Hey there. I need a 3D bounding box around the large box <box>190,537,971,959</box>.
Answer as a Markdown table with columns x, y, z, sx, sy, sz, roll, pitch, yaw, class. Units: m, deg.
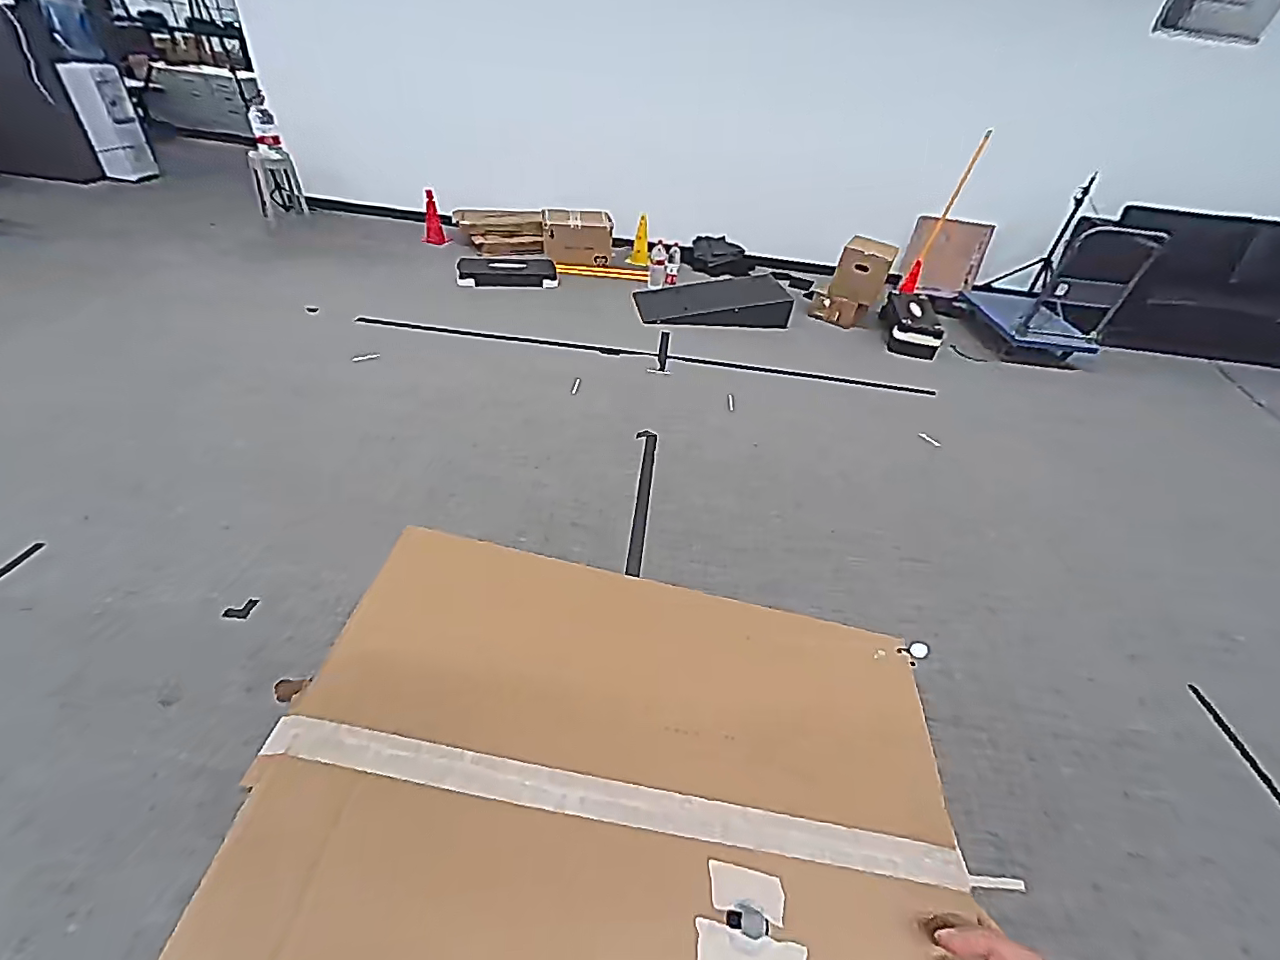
| x | y | z | sx | sy | sz | roll | pitch | yaw | class |
| --- | --- | --- | --- | --- | --- | --- | --- | --- | --- |
| -0.033 | 0.295 | 0.430 | 0.408 | 0.320 | 0.320 | 15 | 46 | -4 | large box |
